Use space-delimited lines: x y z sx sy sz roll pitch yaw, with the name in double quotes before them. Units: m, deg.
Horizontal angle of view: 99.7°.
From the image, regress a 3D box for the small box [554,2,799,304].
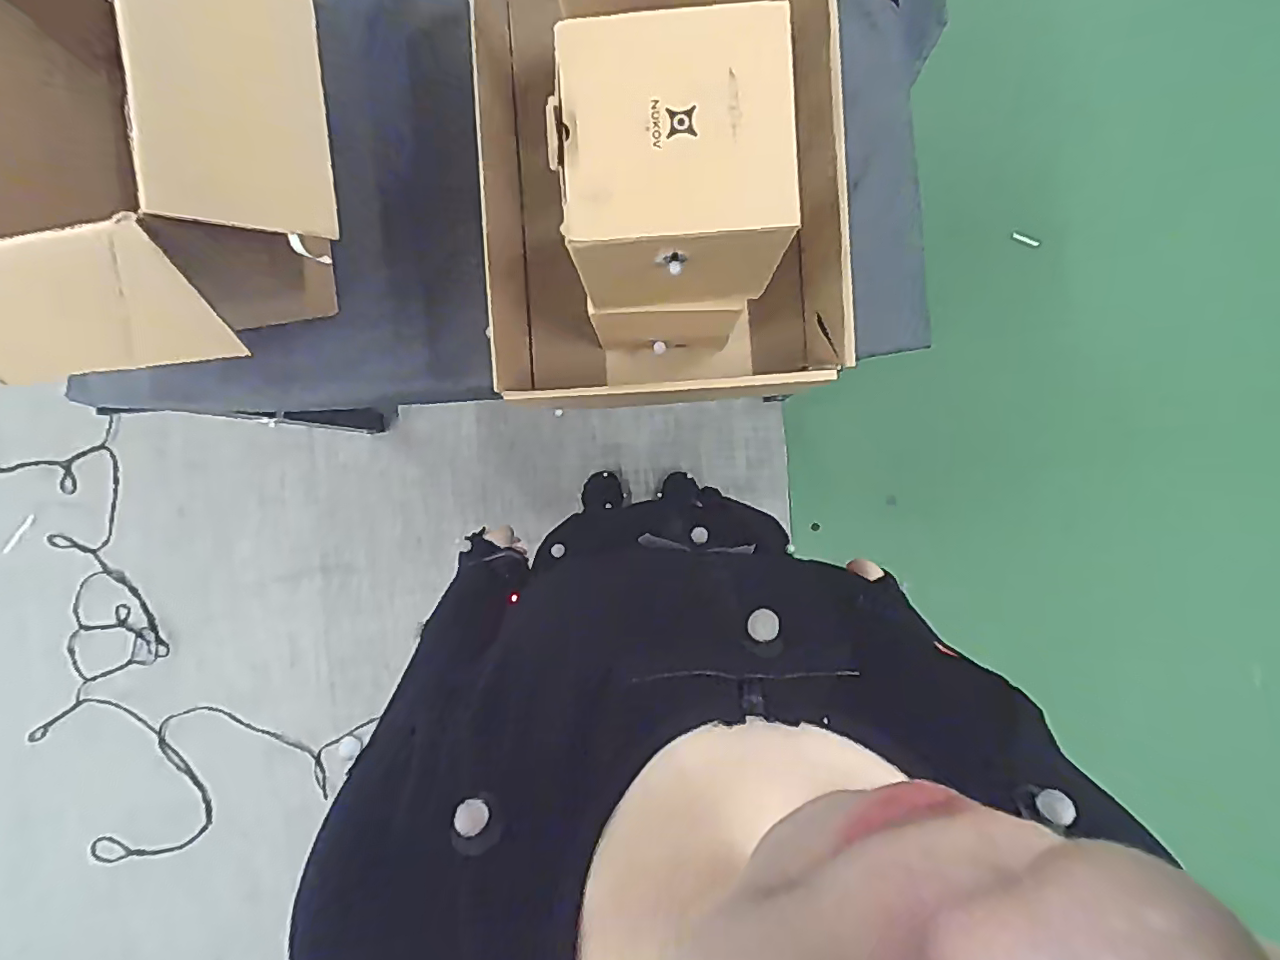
"small box" 0.030 -0.264 0.480 0.179 0.176 0.168 -4 91 2
